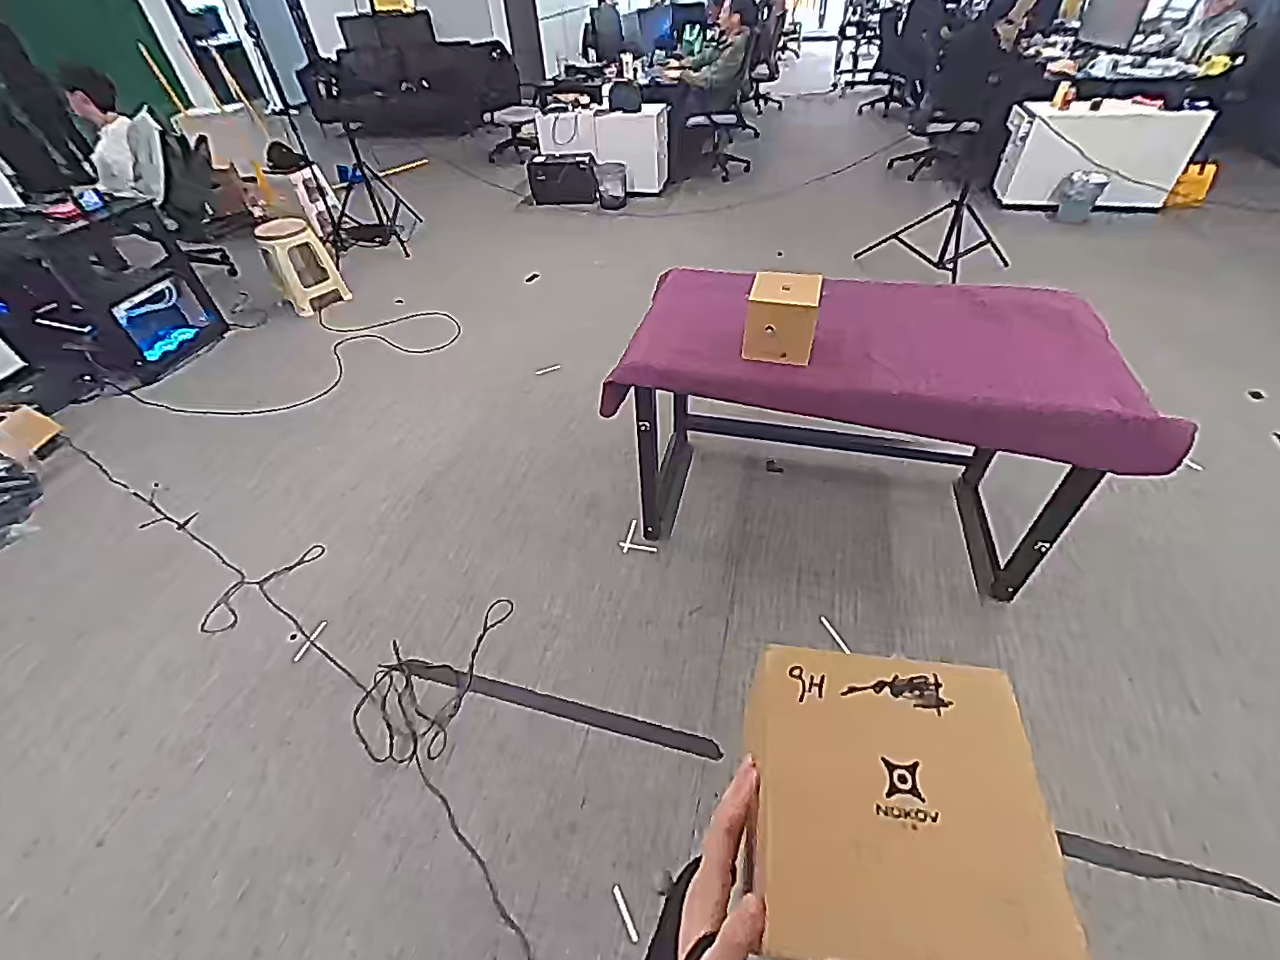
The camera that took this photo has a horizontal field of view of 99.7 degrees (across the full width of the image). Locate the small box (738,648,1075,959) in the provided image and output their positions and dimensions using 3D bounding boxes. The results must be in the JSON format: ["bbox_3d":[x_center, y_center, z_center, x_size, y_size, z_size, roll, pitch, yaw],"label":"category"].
[{"bbox_3d":[0.164,0.247,0.398,0.168,0.176,0.179,5,52,7],"label":"small box"}]

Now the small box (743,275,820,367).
[{"bbox_3d":[0.364,-0.410,1.401,0.168,0.176,0.179,10,44,13],"label":"small box"}]
